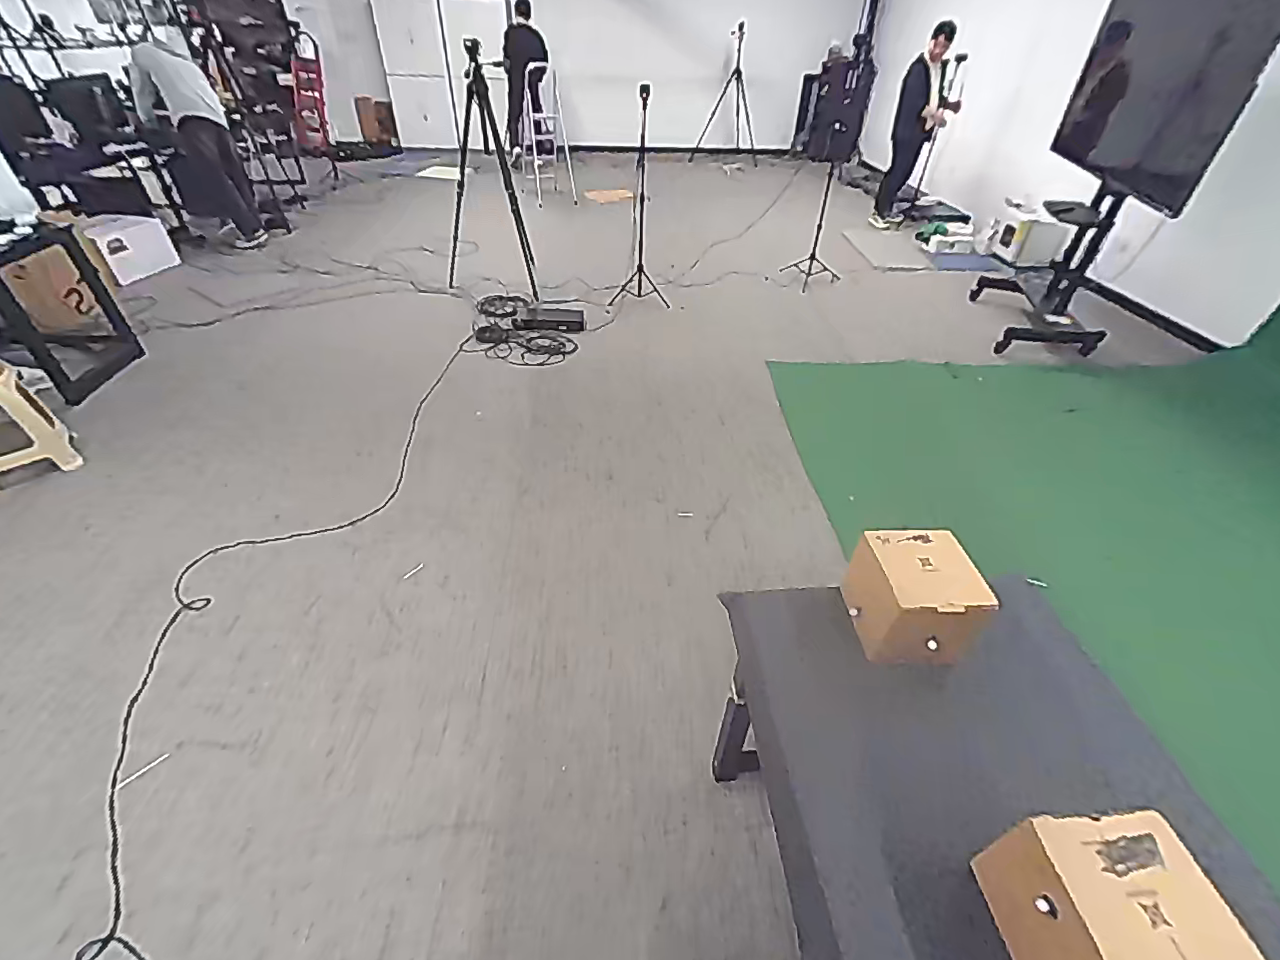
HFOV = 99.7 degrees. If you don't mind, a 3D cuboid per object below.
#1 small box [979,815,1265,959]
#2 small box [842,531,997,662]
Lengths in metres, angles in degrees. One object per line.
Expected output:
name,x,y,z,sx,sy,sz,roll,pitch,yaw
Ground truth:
small box,0.533,0.510,0.616,0.168,0.176,0.179,-1,41,-3
small box,0.487,0.212,0.973,0.168,0.176,0.179,0,41,-2
